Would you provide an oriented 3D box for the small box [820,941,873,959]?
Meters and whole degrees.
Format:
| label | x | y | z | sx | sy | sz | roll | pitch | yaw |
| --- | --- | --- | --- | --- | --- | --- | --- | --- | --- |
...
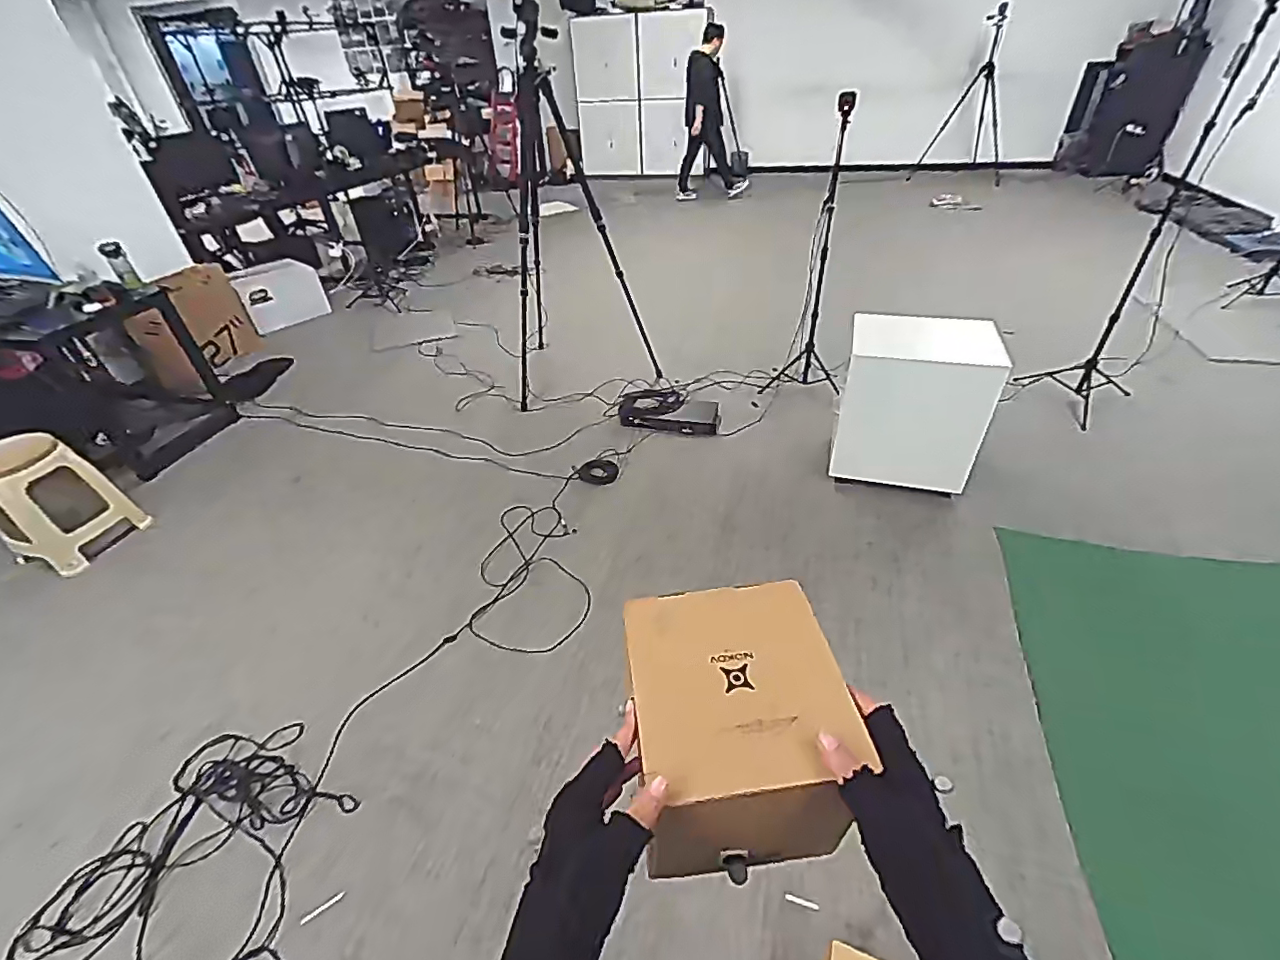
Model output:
| label | x | y | z | sx | sy | sz | roll | pitch | yaw |
| --- | --- | --- | --- | --- | --- | --- | --- | --- | --- |
| small box | 0.408 | 1.007 | 0.993 | 0.168 | 0.176 | 0.179 | 12 | 41 | 19 |
